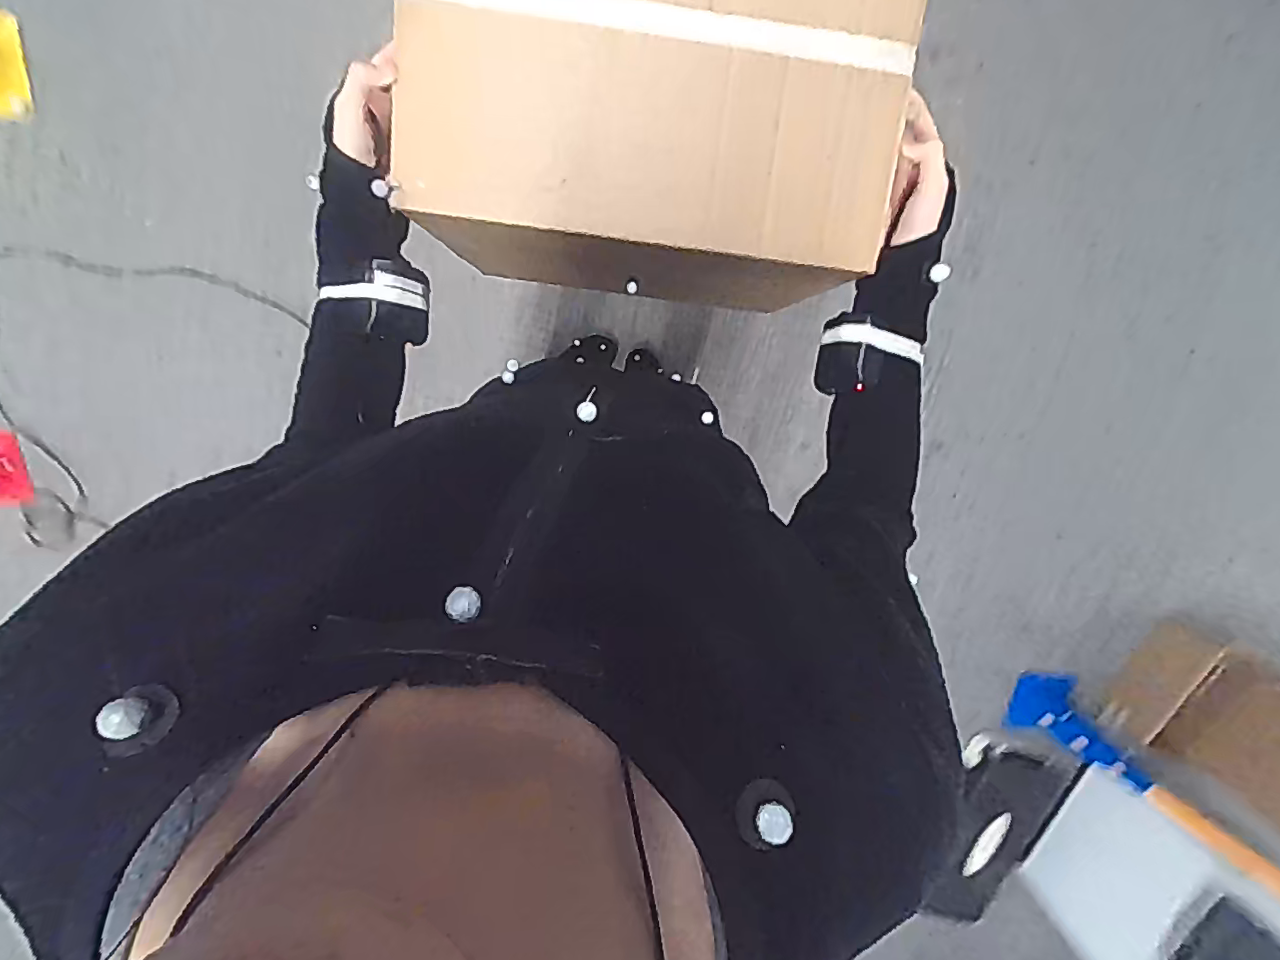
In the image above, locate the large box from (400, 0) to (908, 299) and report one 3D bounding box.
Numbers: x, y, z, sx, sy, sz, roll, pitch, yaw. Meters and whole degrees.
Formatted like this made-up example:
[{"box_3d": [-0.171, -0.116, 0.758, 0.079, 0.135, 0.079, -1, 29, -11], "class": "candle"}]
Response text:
[{"box_3d": [0.008, -0.382, 0.576, 0.408, 0.320, 0.320, 5, 101, -3], "class": "large box"}]
